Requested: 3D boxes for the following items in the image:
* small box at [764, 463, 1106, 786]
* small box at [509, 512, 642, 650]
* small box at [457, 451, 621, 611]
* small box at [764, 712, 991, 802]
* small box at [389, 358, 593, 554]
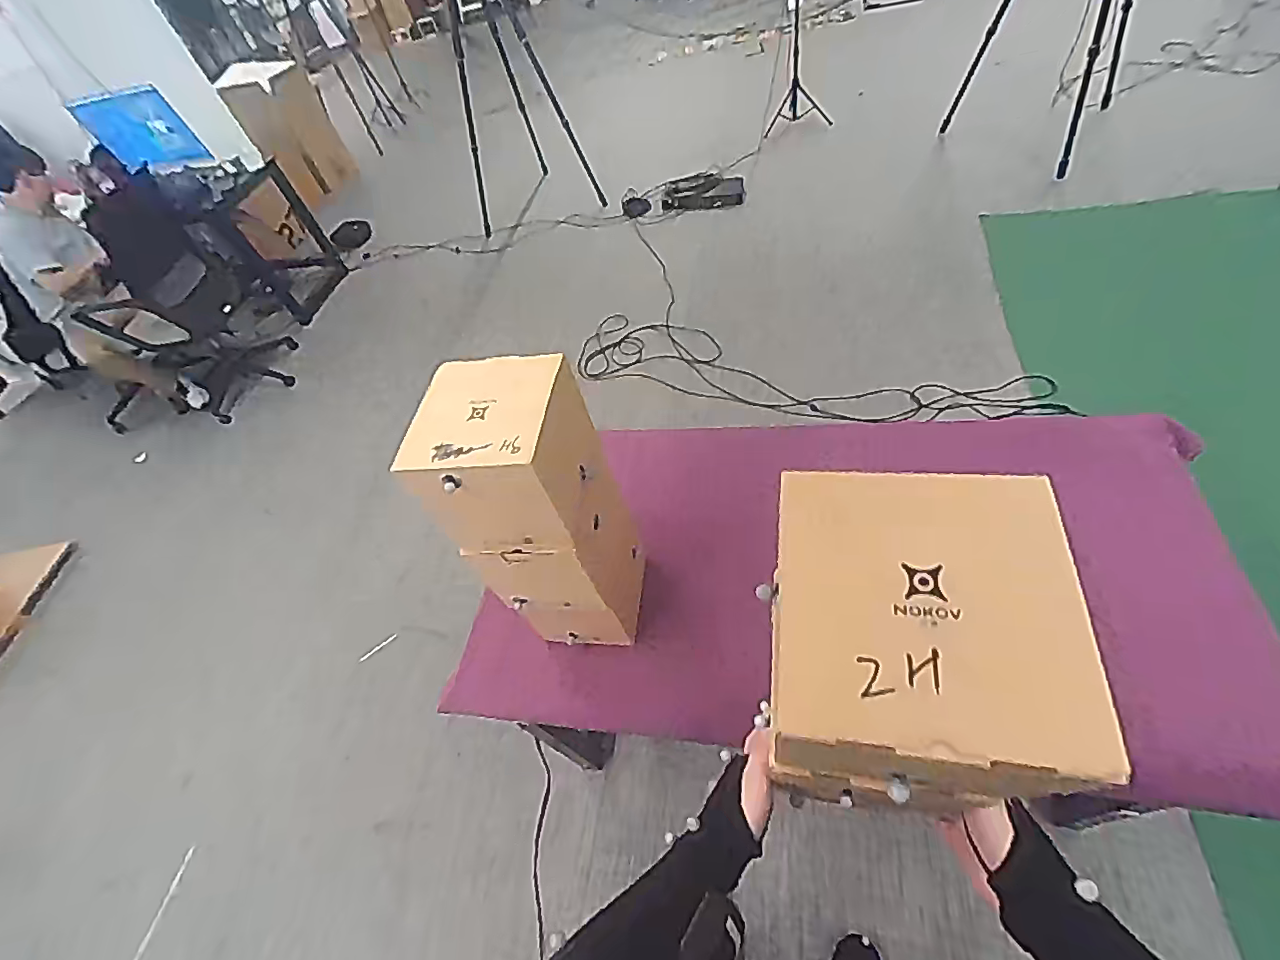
[{"bbox_3d":[0.178,0.106,0.391,0.168,0.176,0.179,1,59,15],"label":"small box"},{"bbox_3d":[-0.098,0.171,0.922,0.168,0.176,0.179,-2,53,14],"label":"small box"},{"bbox_3d":[-0.132,0.079,0.791,0.168,0.176,0.179,-2,51,14],"label":"small box"},{"bbox_3d":[0.207,0.198,0.524,0.168,0.176,0.179,1,58,14],"label":"small box"},{"bbox_3d":[-0.165,-0.026,0.670,0.168,0.176,0.179,-2,51,14],"label":"small box"}]
